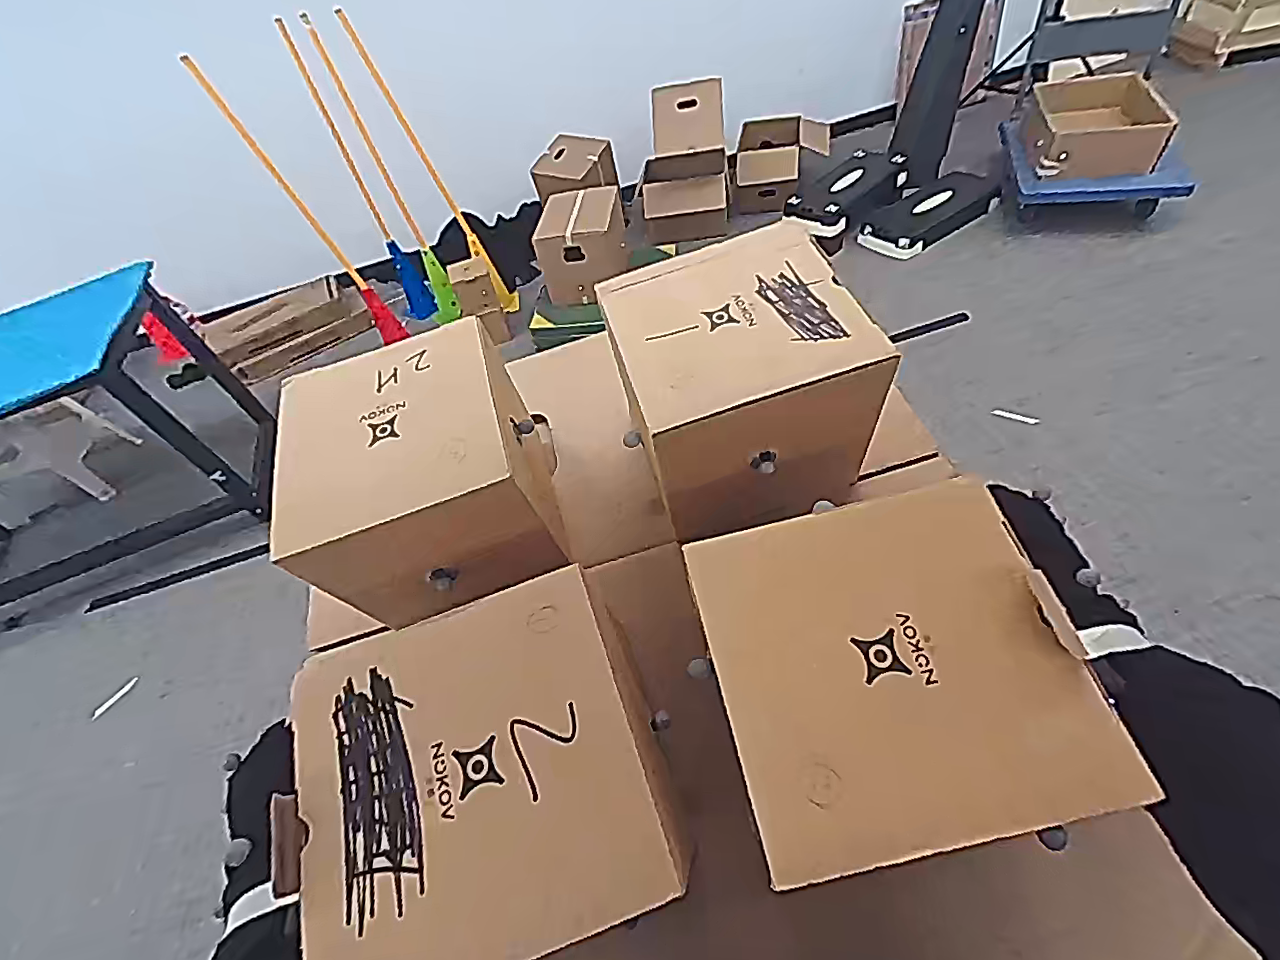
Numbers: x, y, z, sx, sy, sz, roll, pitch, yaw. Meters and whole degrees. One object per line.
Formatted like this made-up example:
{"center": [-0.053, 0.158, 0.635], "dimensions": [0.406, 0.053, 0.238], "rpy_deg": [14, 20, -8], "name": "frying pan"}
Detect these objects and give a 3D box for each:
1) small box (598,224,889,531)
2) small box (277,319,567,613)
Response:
{"center": [0.078, -0.079, 0.469], "dimensions": [0.179, 0.176, 0.168], "rpy_deg": [-17, 58, 1], "name": "small box"}
{"center": [-0.173, 0.000, 0.470], "dimensions": [0.168, 0.176, 0.179], "rpy_deg": [-19, 57, -1], "name": "small box"}
